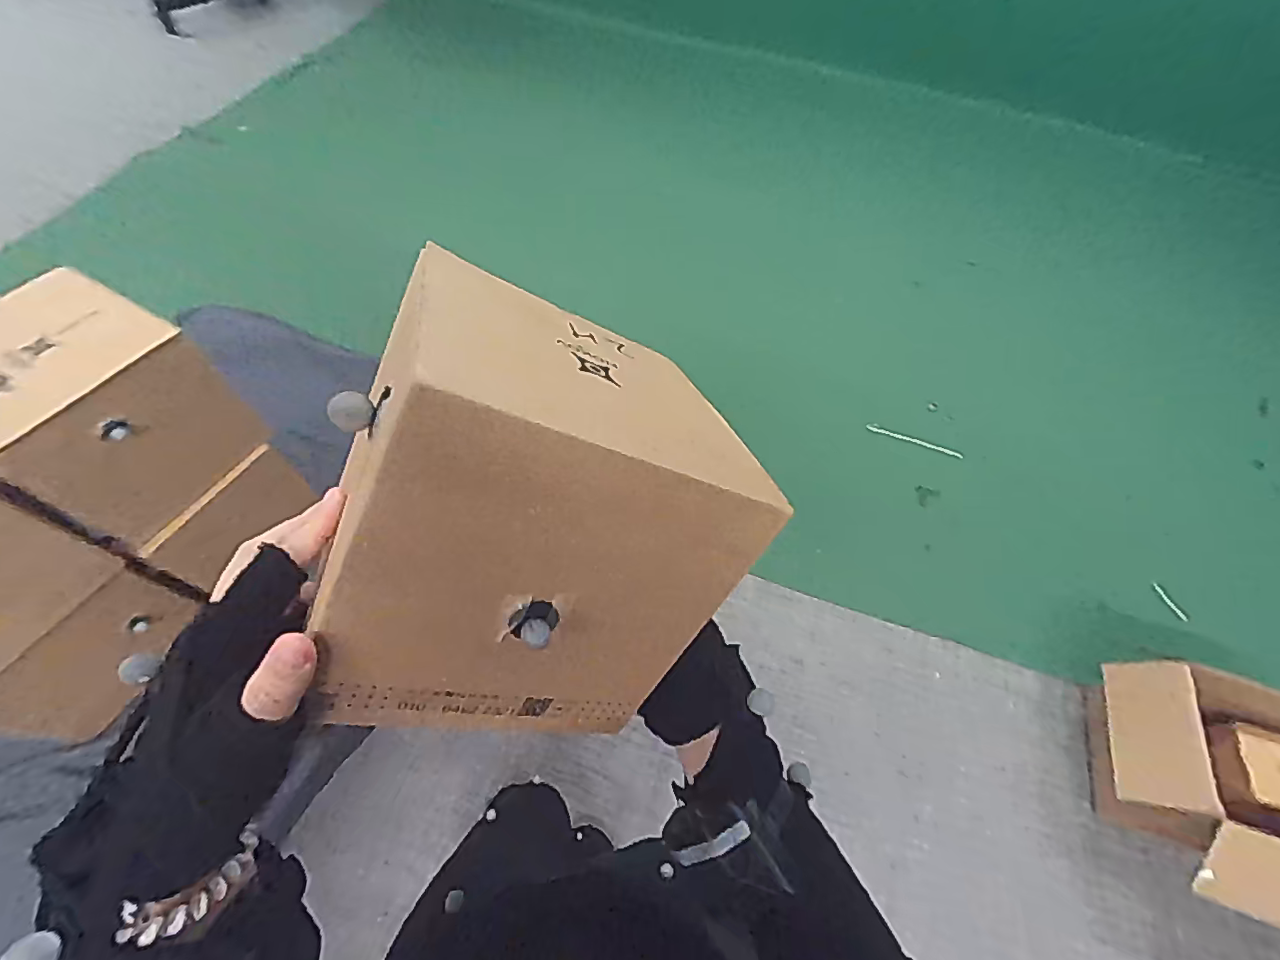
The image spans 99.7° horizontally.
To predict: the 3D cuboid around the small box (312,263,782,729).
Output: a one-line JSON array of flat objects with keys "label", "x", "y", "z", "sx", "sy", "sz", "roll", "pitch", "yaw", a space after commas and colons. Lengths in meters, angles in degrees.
[{"label": "small box", "x": -0.062, "y": 0.013, "z": 0.303, "sx": 0.168, "sy": 0.176, "sz": 0.179, "roll": 19, "pitch": 26, "yaw": -29}]
